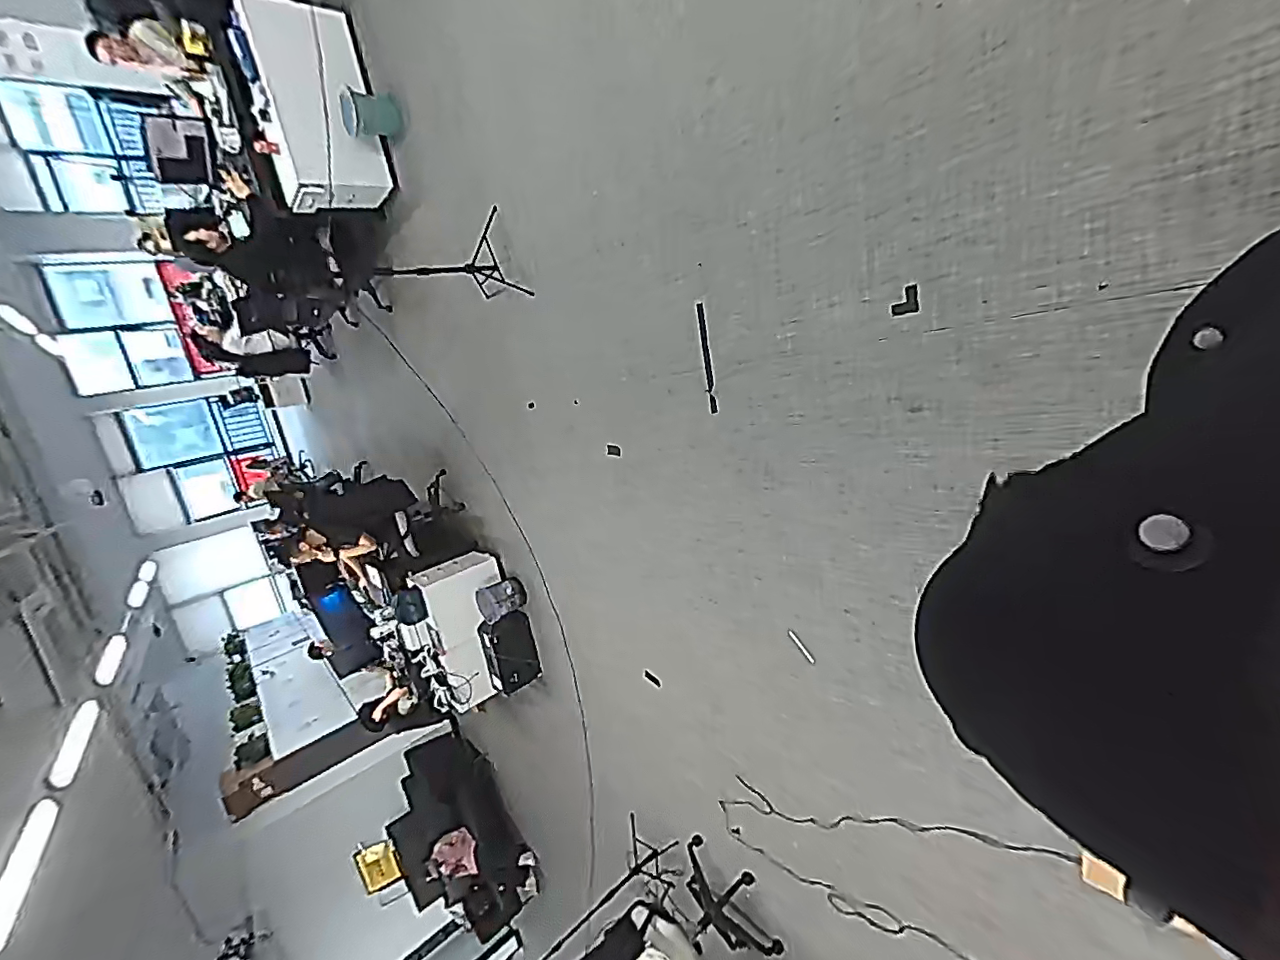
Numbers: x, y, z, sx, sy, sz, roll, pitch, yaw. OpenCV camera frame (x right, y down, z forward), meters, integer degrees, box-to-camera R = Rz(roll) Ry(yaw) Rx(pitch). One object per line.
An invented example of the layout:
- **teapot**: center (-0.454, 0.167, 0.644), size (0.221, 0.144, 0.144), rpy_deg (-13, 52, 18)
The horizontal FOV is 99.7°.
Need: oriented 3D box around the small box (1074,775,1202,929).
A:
- **small box**: center (1.056, 0.773, 1.148), size (0.179, 0.176, 0.168), rpy_deg (8, 113, 51)
